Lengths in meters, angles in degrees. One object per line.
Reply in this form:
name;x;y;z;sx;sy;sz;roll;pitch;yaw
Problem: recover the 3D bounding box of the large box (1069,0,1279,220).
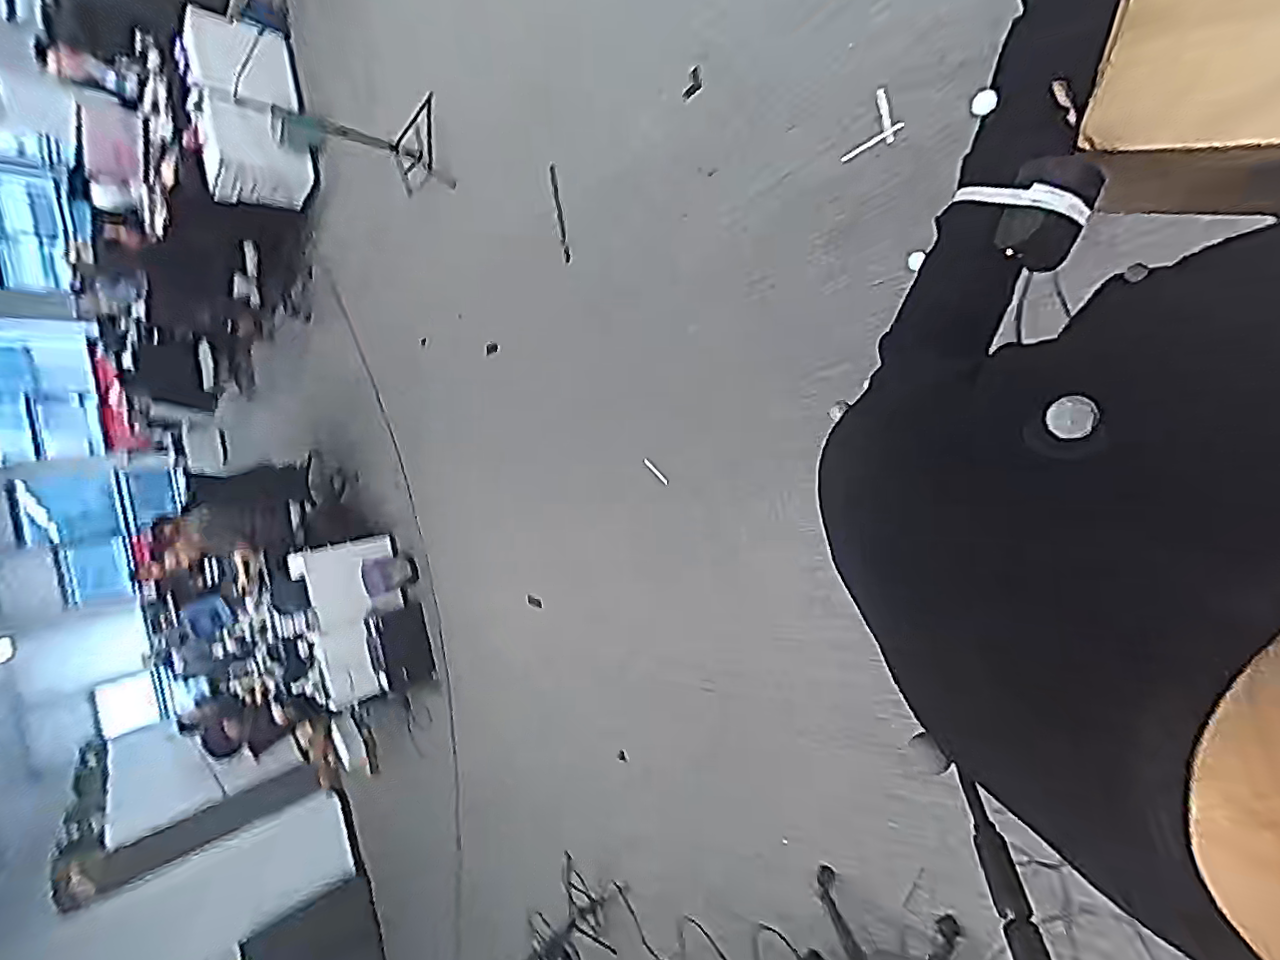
large box;0.573;-0.362;0.349;0.408;0.320;0.320;20;116;36
